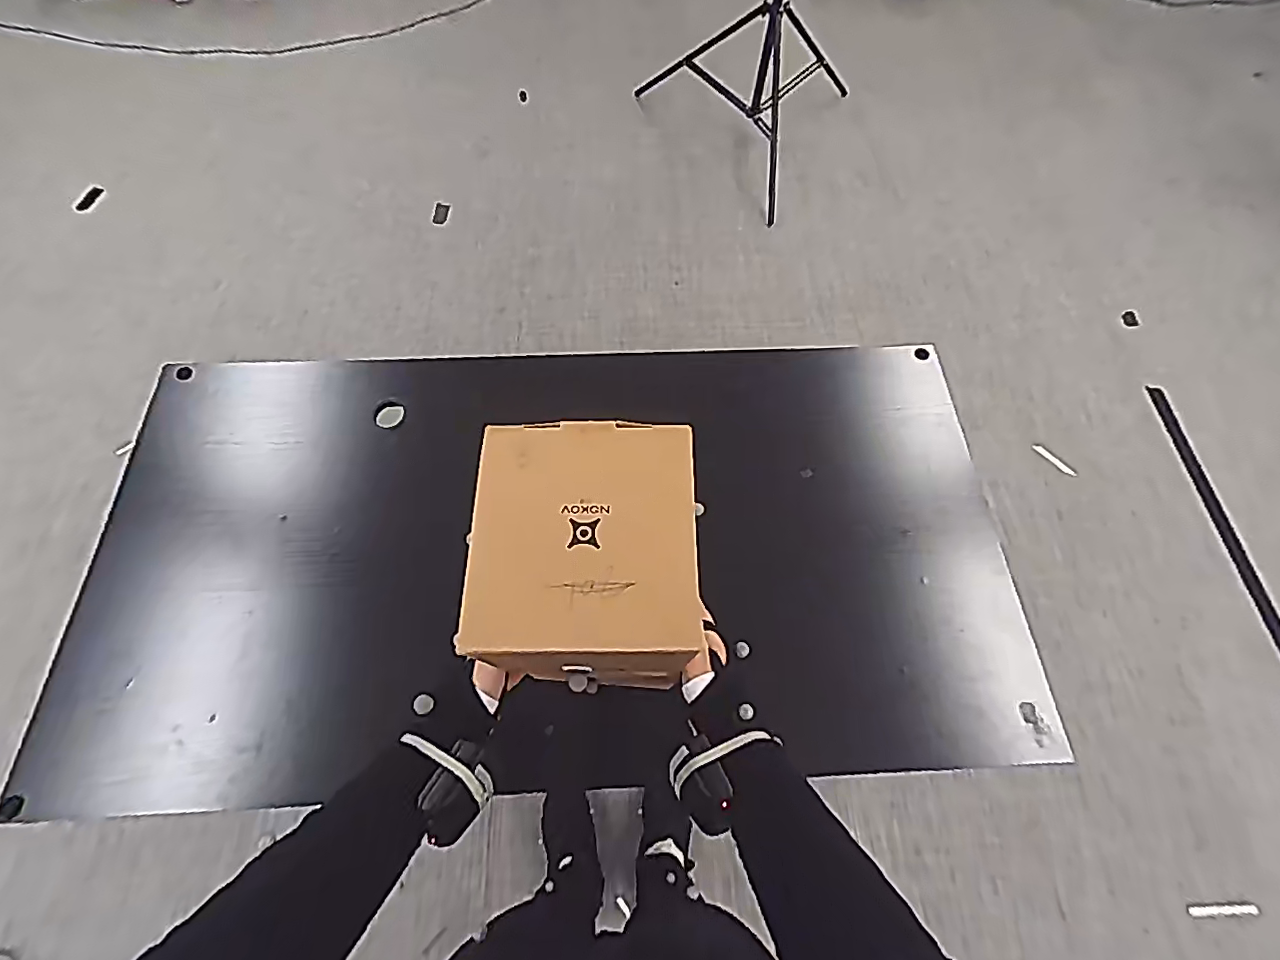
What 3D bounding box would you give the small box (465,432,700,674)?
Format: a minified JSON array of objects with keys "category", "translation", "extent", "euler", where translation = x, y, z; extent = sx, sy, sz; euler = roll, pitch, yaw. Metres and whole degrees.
[{"category":"small box","translation":[-0.040,0.073,0.478],"extent":[0.168,0.176,0.179],"euler":[-1,67,0]}]
